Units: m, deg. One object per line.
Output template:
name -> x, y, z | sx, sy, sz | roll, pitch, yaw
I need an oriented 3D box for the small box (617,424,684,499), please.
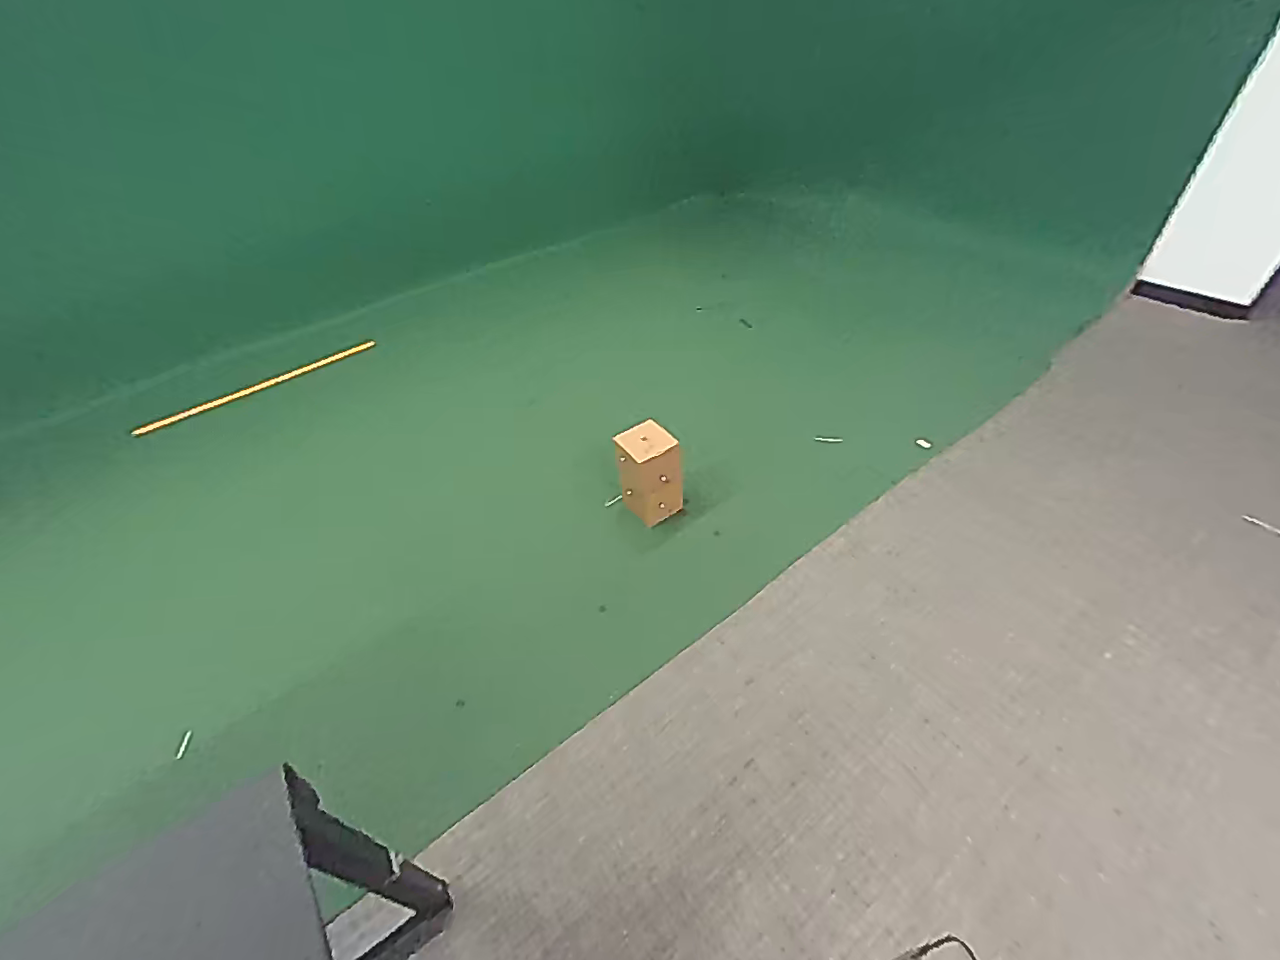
small box -> 0.038, -0.065, 1.907 | 0.168, 0.176, 0.179 | -29, 47, -19

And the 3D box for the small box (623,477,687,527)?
small box -> 0.060, 0.052, 2.022 | 0.168, 0.176, 0.179 | -31, 47, -21
